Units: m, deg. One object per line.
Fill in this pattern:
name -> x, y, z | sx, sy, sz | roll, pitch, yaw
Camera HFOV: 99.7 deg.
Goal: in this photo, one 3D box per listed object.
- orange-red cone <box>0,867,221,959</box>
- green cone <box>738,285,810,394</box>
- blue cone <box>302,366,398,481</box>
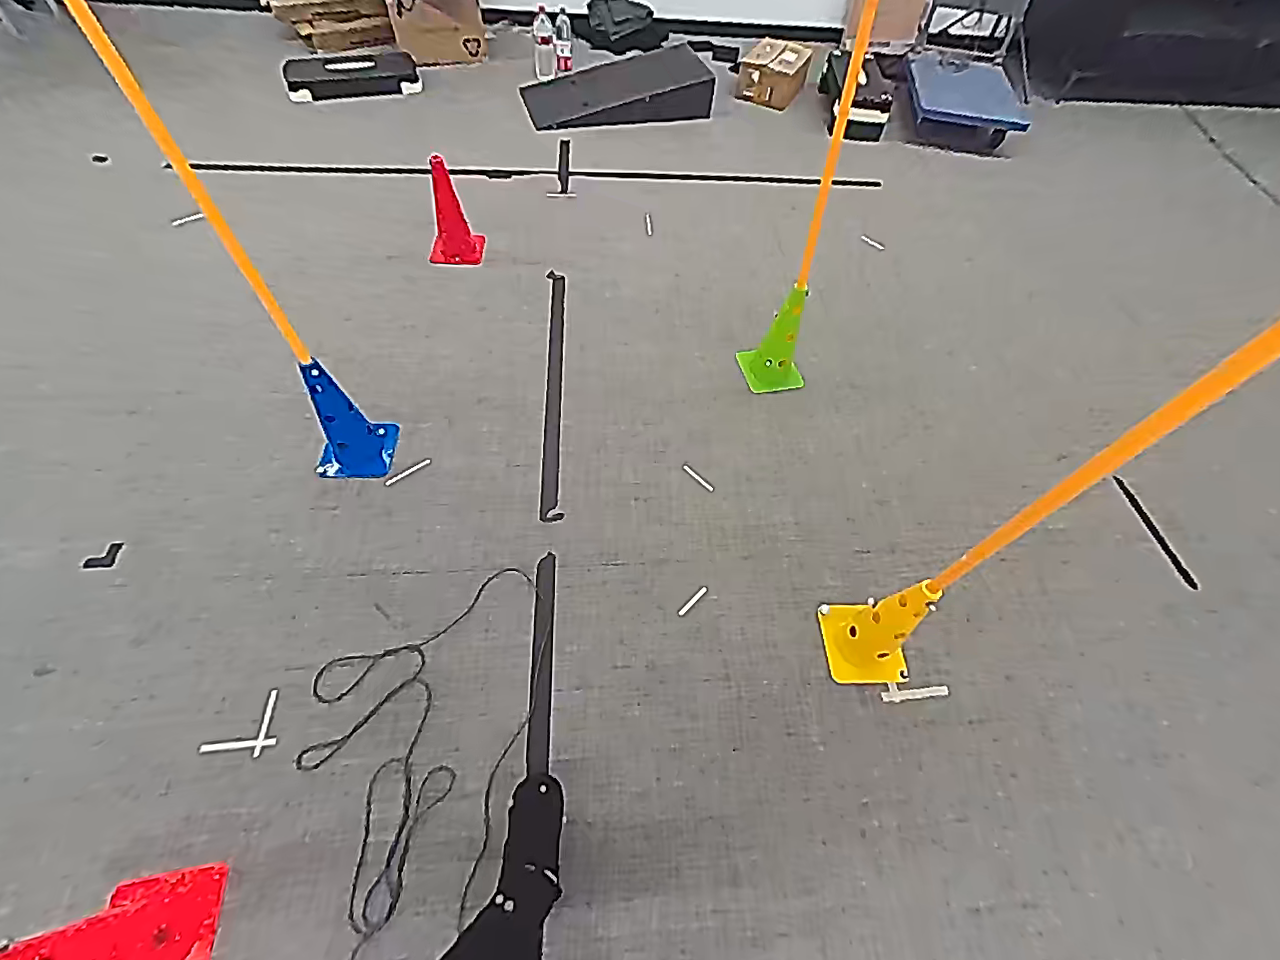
orange-red cone -> -0.868, 0.733, 0.834 | 0.199, 0.360, 0.198 | -4, 57, -9
green cone -> 0.475, -0.481, 1.778 | 0.200, 0.368, 0.202 | -10, 59, -11
blue cone -> -0.820, -0.171, 1.478 | 0.193, 0.380, 0.192 | 1, 56, -3
